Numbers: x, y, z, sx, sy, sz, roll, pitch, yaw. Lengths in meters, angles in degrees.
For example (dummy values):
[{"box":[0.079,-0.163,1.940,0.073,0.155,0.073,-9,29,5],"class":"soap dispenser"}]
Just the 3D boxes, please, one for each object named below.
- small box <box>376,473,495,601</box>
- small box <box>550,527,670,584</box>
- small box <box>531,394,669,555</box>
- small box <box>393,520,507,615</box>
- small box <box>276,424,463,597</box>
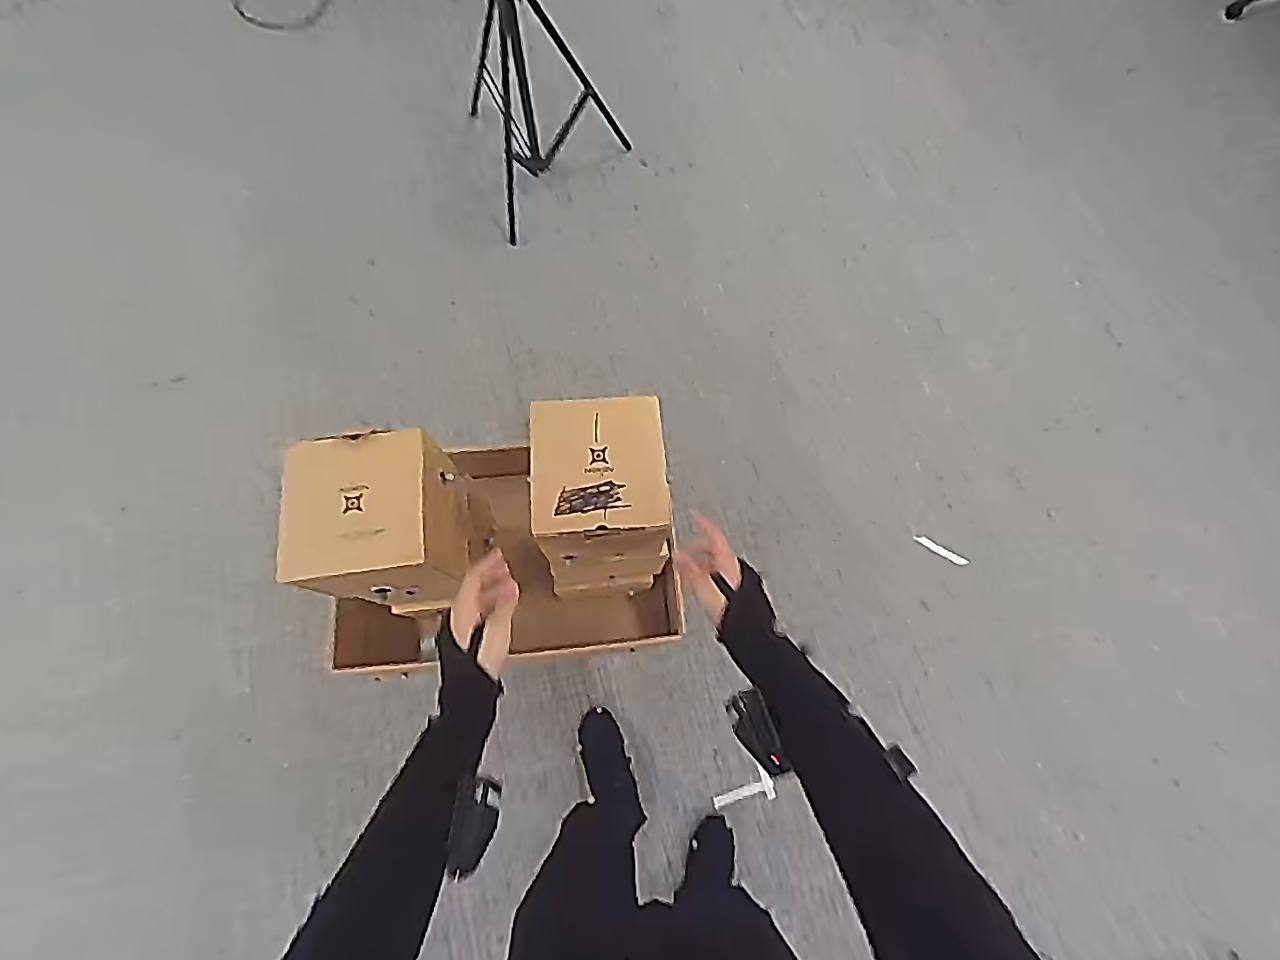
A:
[{"box":[-0.340,0.098,0.866,0.179,0.176,0.168,-4,72,-5],"class":"small box"},{"box":[-0.056,0.069,0.882,0.179,0.176,0.168,-7,71,-5],"class":"small box"},{"box":[-0.052,0.002,0.730,0.168,0.176,0.179,-3,71,-3],"class":"small box"},{"box":[-0.349,0.158,1.019,0.168,0.176,0.179,-6,71,-5],"class":"small box"},{"box":[-0.338,0.047,0.710,0.168,0.176,0.179,-7,71,-4],"class":"small box"}]
